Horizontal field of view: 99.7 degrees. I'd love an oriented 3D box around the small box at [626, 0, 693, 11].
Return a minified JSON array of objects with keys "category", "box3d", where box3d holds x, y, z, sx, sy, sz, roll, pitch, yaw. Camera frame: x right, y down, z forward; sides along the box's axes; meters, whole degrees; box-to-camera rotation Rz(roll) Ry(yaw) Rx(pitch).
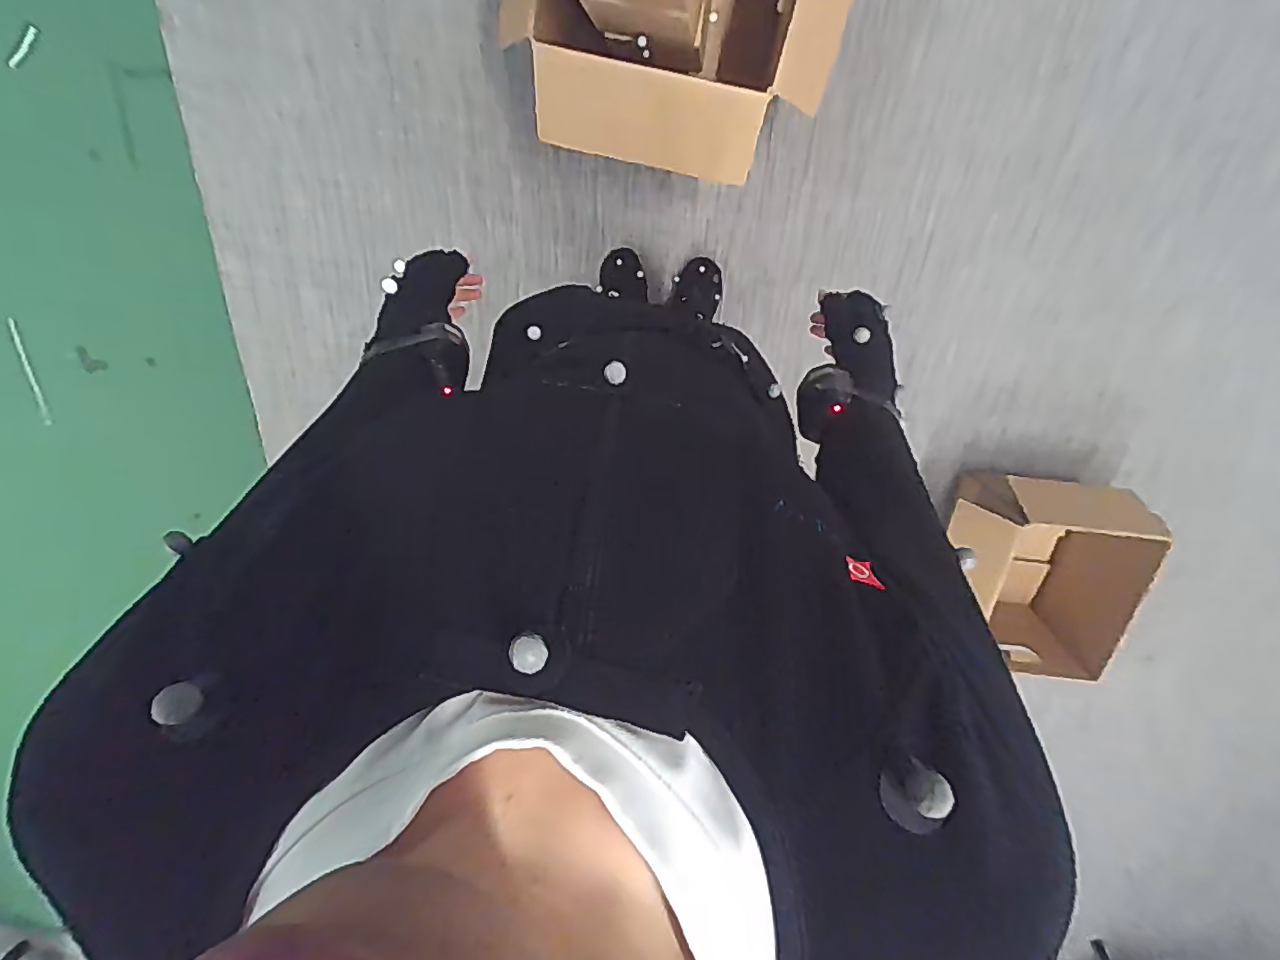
[{"category":"small box","box3d":[-0.005,-0.751,0.705,0.179,0.176,0.168,12,118,2]}]
